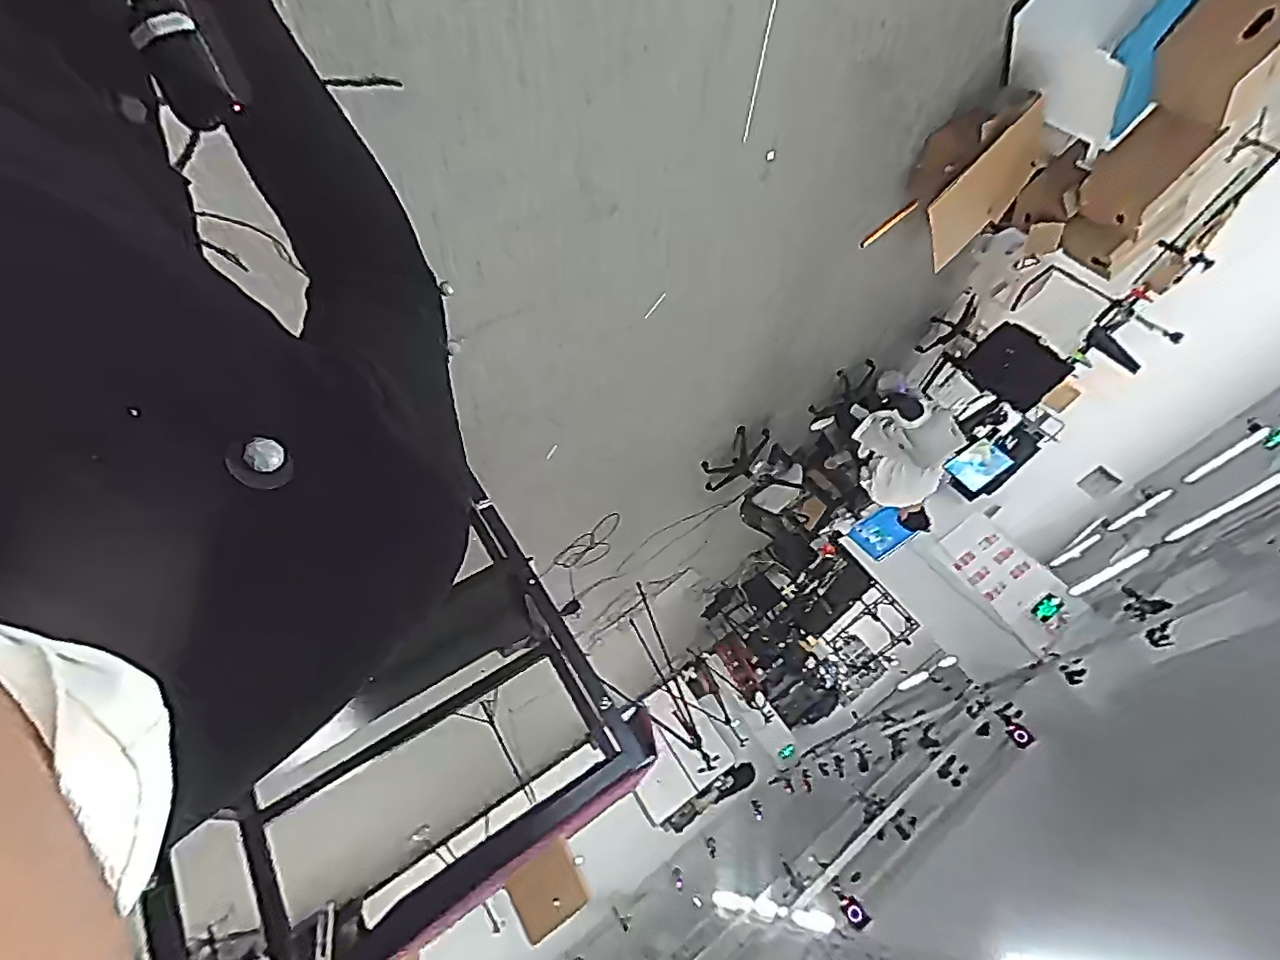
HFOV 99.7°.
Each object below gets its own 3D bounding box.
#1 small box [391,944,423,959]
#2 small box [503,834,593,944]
[{"bbox_3d":[-0.618,1.307,1.343,0.168,0.176,0.179,-26,154,-25],"label":"small box"},{"bbox_3d":[-0.245,1.087,1.459,0.179,0.176,0.168,-29,153,-19],"label":"small box"}]
